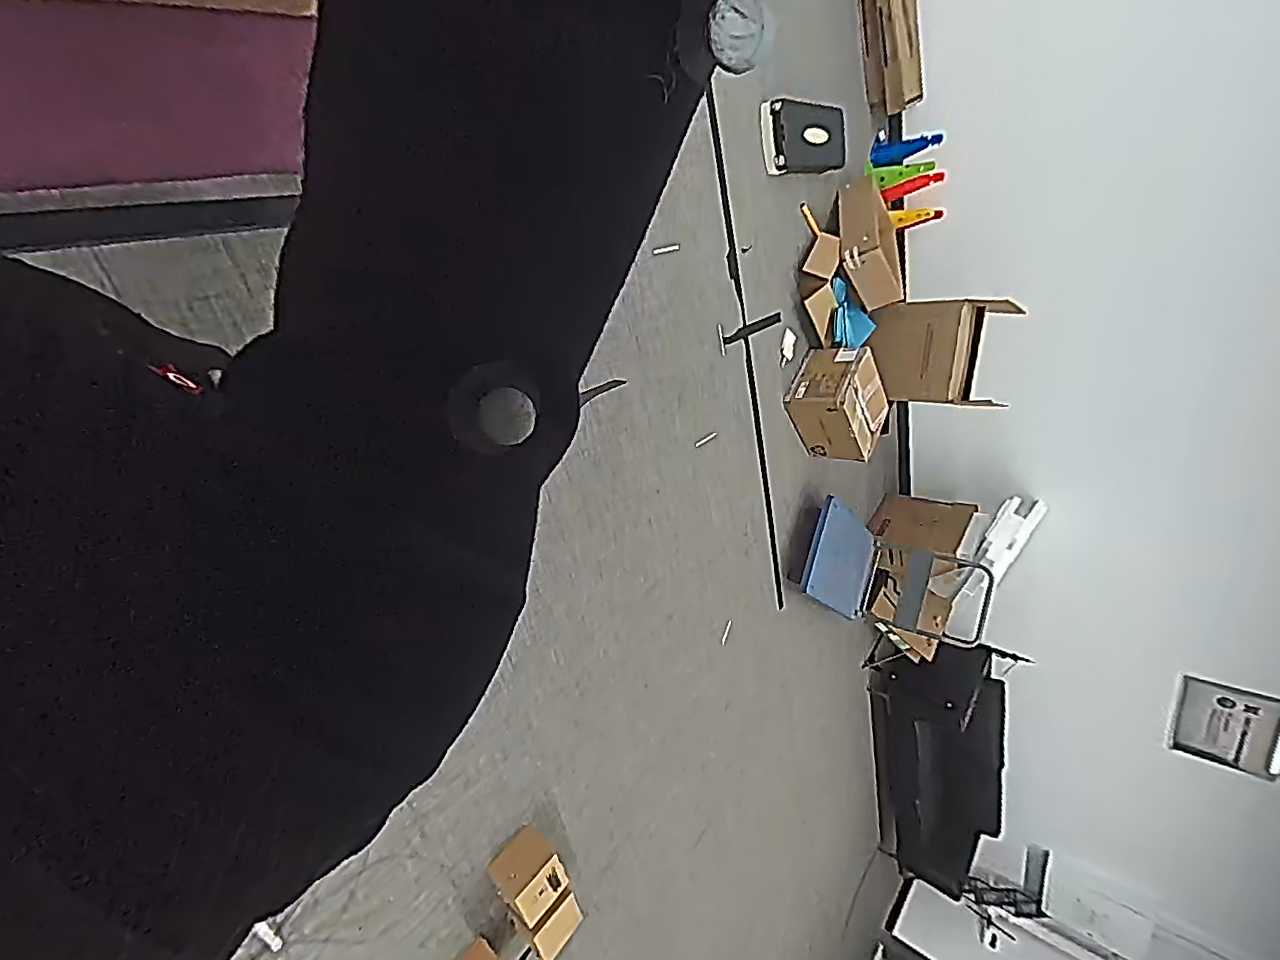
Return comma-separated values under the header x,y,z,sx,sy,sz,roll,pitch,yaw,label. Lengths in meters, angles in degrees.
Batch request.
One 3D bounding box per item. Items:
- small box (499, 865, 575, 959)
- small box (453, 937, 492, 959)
x,y,z,sx,sy,sz,roll,pitch,yaw,label
-0.359,1.526,1.902,0.179,0.176,0.168,-32,119,-40,small box
-0.537,1.642,1.734,0.179,0.176,0.168,-38,123,-38,small box
